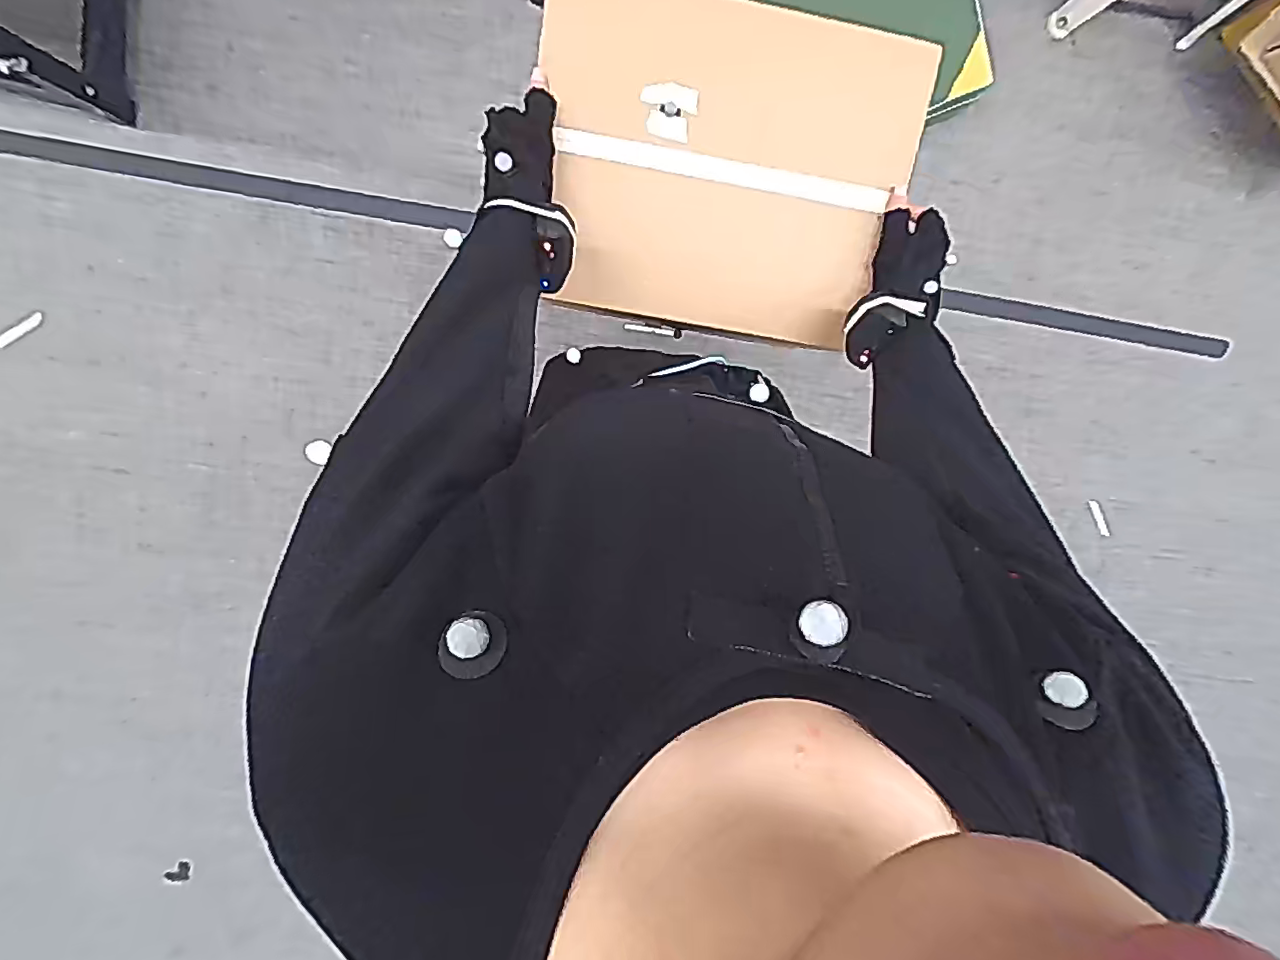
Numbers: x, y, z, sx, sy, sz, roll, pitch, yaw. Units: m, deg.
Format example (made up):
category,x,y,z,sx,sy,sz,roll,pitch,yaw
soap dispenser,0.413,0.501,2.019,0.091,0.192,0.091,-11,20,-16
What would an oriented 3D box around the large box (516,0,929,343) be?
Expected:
category,x,y,z,sx,sy,sz,roll,pitch,yaw
large box,0.078,-0.375,0.725,0.408,0.320,0.320,10,104,-4
